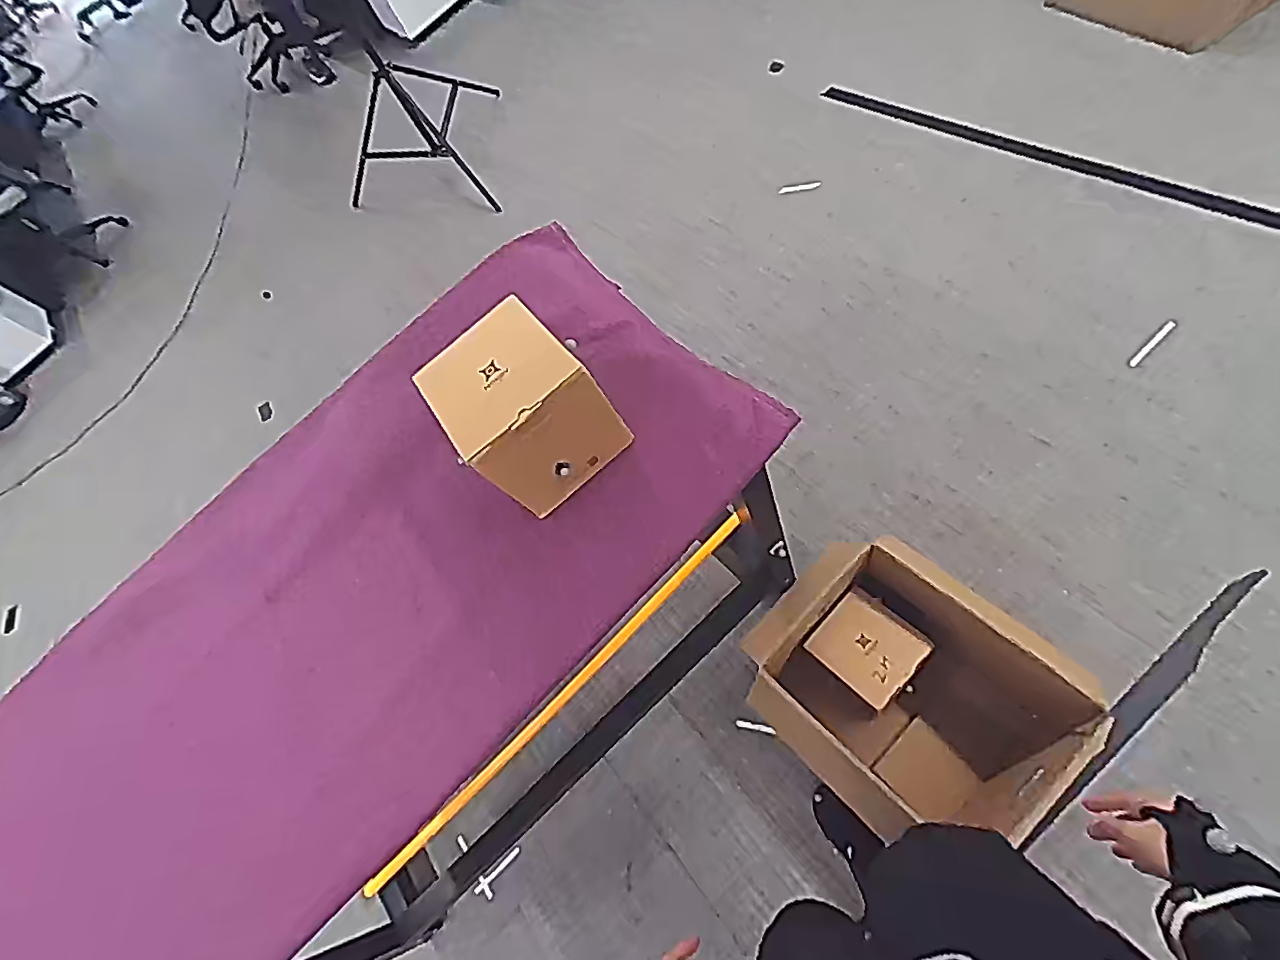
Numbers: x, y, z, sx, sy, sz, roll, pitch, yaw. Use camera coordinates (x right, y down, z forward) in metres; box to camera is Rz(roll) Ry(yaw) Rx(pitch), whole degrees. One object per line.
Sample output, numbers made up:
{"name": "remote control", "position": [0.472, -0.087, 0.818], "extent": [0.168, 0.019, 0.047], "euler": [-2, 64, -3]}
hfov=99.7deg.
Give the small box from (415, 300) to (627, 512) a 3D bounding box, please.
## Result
{"name": "small box", "position": [-0.146, -0.087, 0.698], "extent": [0.168, 0.176, 0.179], "euler": [-41, 58, -2]}
